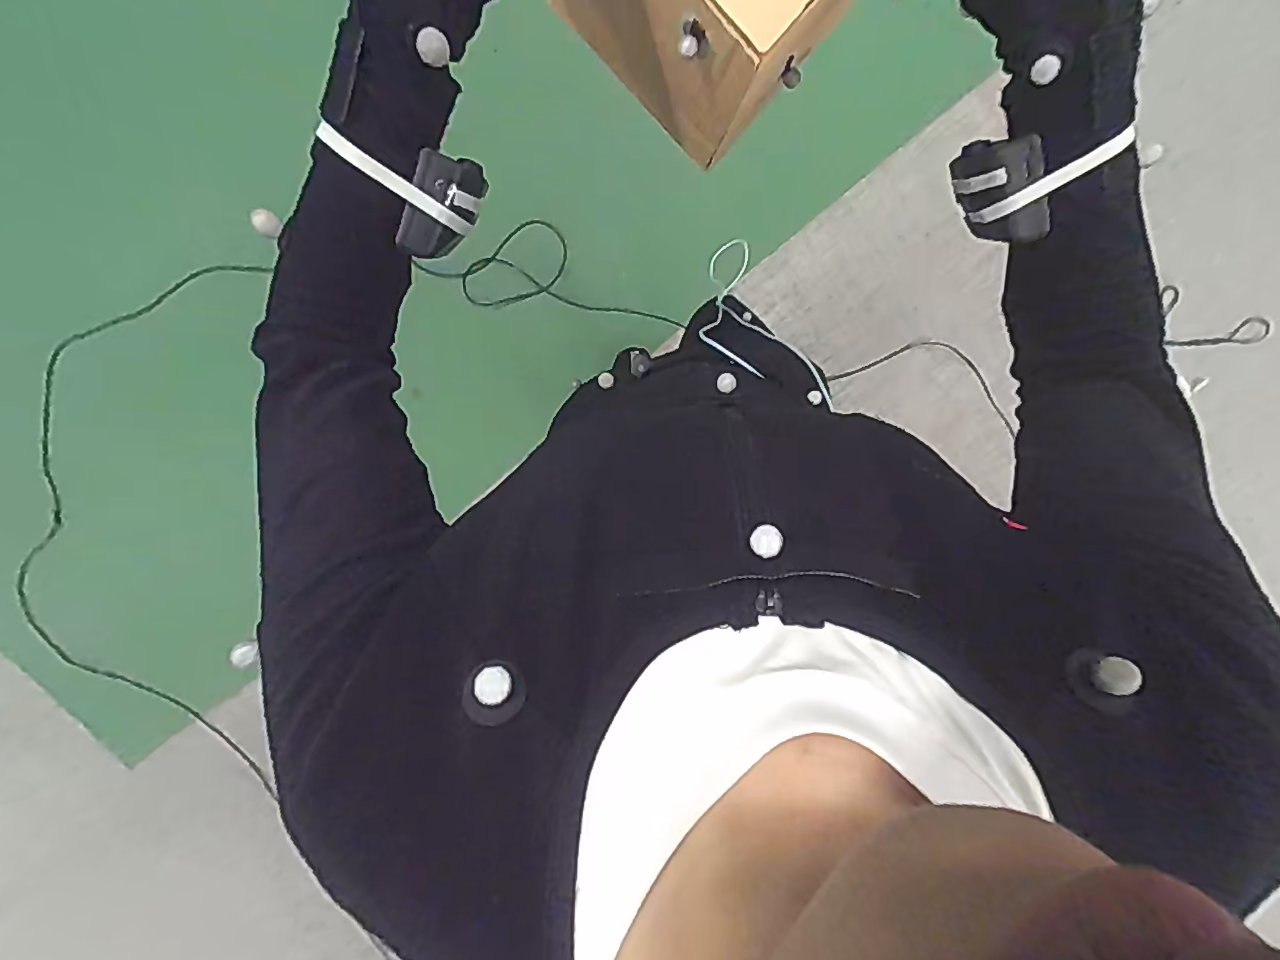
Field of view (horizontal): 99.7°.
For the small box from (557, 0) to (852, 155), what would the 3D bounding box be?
[{"bbox_3d":[0.051,-0.358,0.348,0.179,0.176,0.168,42,96,-12],"label":"small box"}]
